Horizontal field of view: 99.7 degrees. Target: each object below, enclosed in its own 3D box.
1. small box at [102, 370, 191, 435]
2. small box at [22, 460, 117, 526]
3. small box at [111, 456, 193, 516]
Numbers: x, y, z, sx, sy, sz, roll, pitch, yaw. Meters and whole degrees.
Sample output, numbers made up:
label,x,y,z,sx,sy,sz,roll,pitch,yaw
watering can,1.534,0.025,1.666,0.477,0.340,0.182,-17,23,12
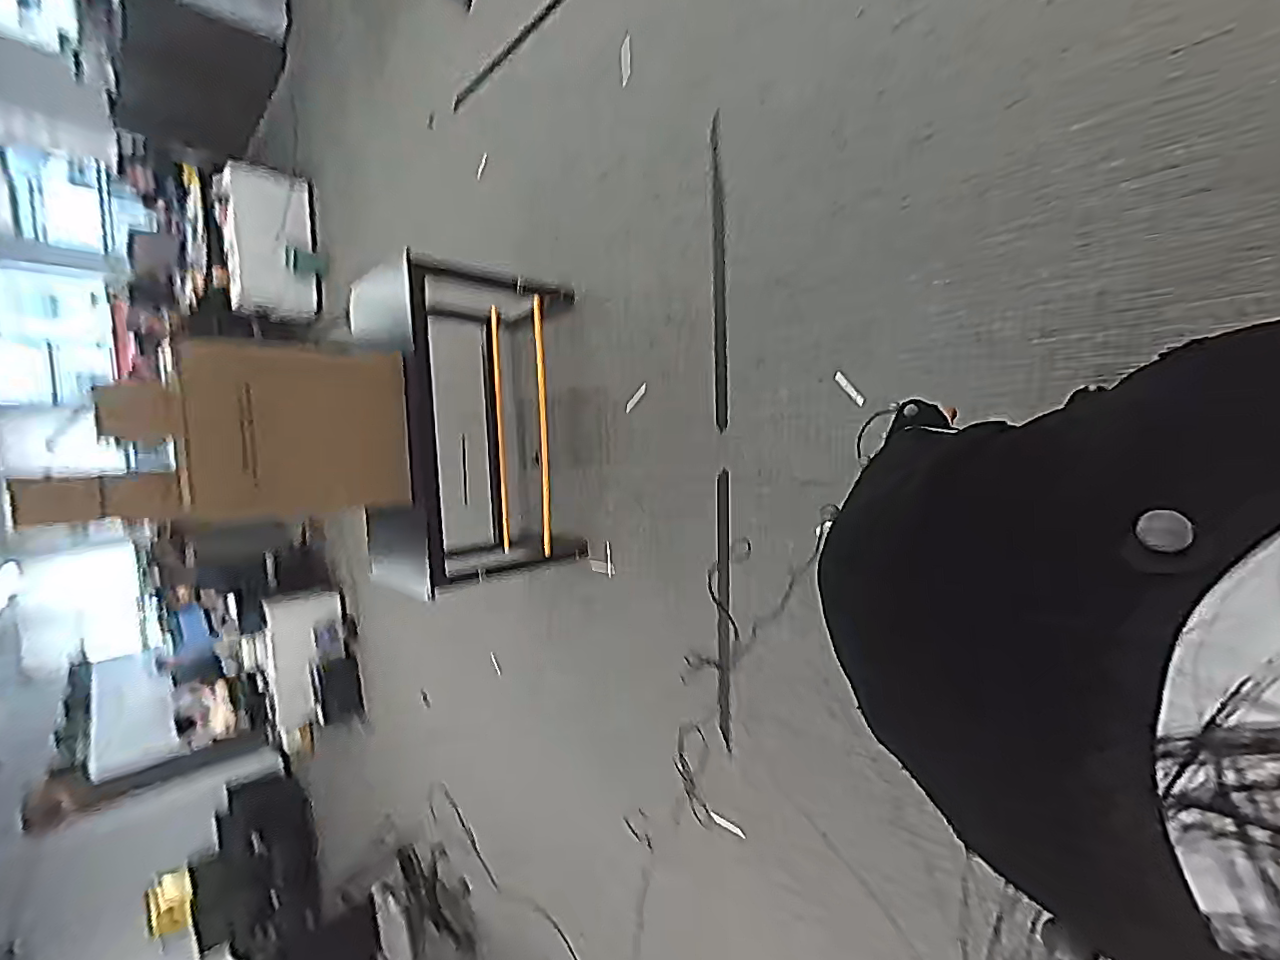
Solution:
label,x,y,z,sx,sy,sz,roll,pitch,yaw
small box,-1.374,-0.210,1.509,0.179,0.176,0.168,0,96,45
small box,-1.566,0.032,1.494,0.179,0.176,0.168,-1,93,46
small box,-1.459,0.018,1.619,0.179,0.176,0.168,-3,92,45
